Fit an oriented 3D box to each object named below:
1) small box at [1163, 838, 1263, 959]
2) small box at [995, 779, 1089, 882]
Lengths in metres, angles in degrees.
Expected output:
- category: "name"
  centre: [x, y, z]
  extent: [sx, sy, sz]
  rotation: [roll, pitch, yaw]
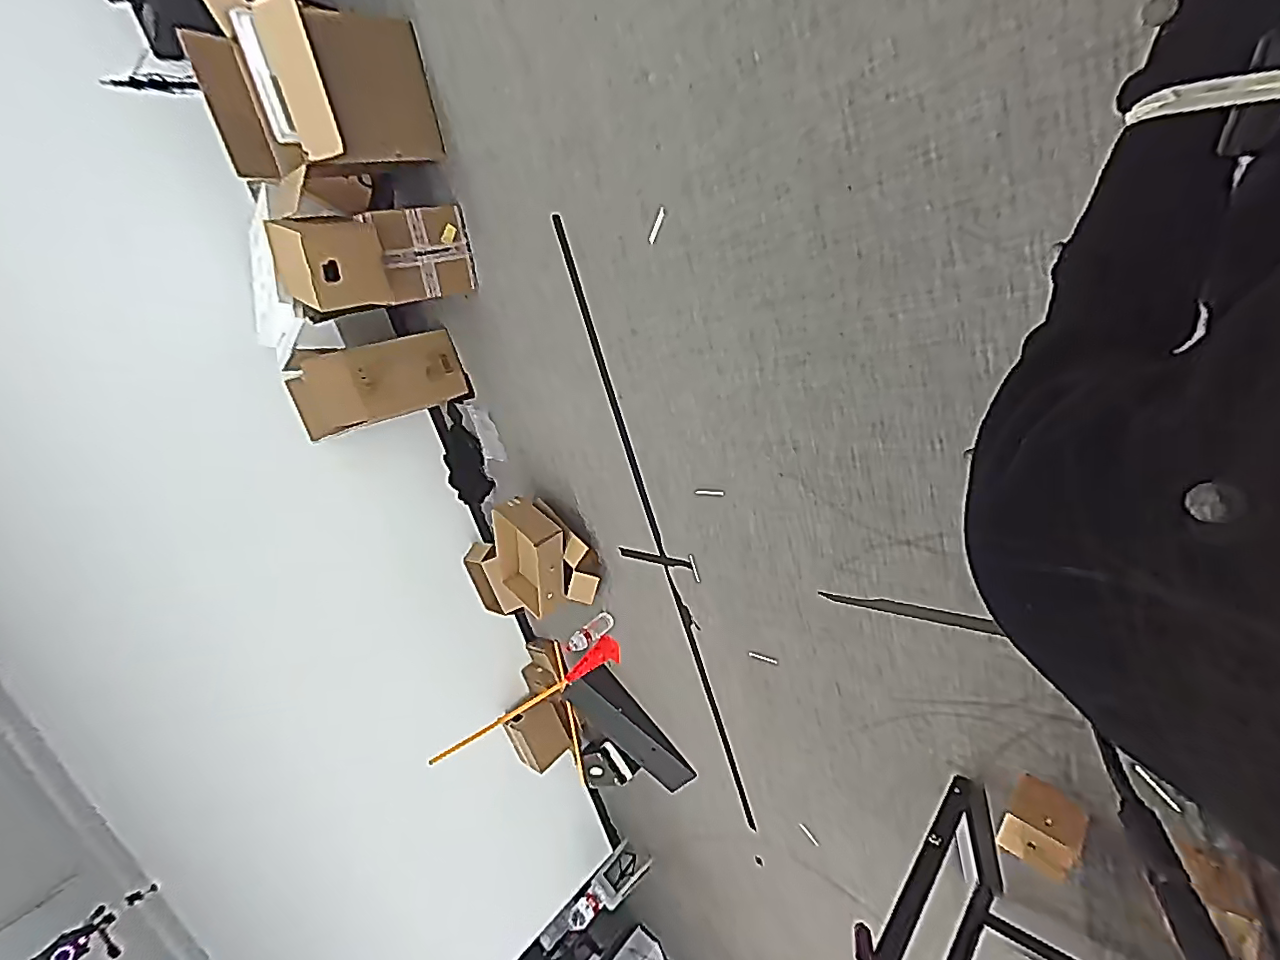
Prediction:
- category: "small box"
  centre: [1.456, 1.072, 1.375]
  extent: [0.168, 0.176, 0.179]
  rotation: [1, 113, 49]
- category: "small box"
  centre: [1.219, 1.049, 1.640]
  extent: [0.179, 0.176, 0.168]
  rotation: [21, 128, 39]
